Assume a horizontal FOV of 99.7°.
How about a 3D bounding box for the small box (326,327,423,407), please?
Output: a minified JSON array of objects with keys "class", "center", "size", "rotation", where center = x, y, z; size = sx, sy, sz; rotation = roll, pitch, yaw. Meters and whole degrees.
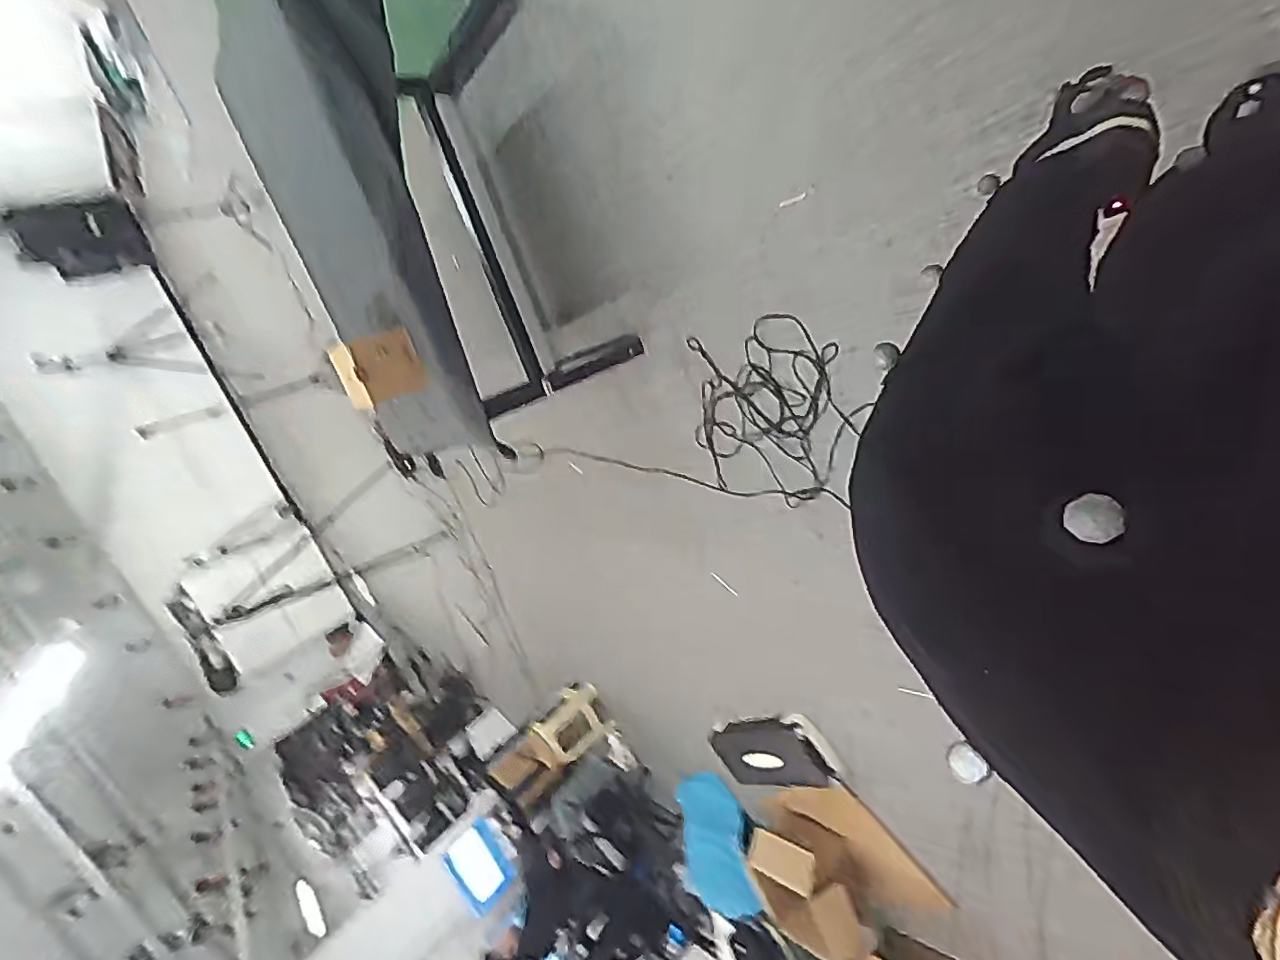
[{"class":"small box","center":[-0.715,-0.307,1.470],"size":[0.179,0.176,0.168],"rotation":[4,116,49]}]
